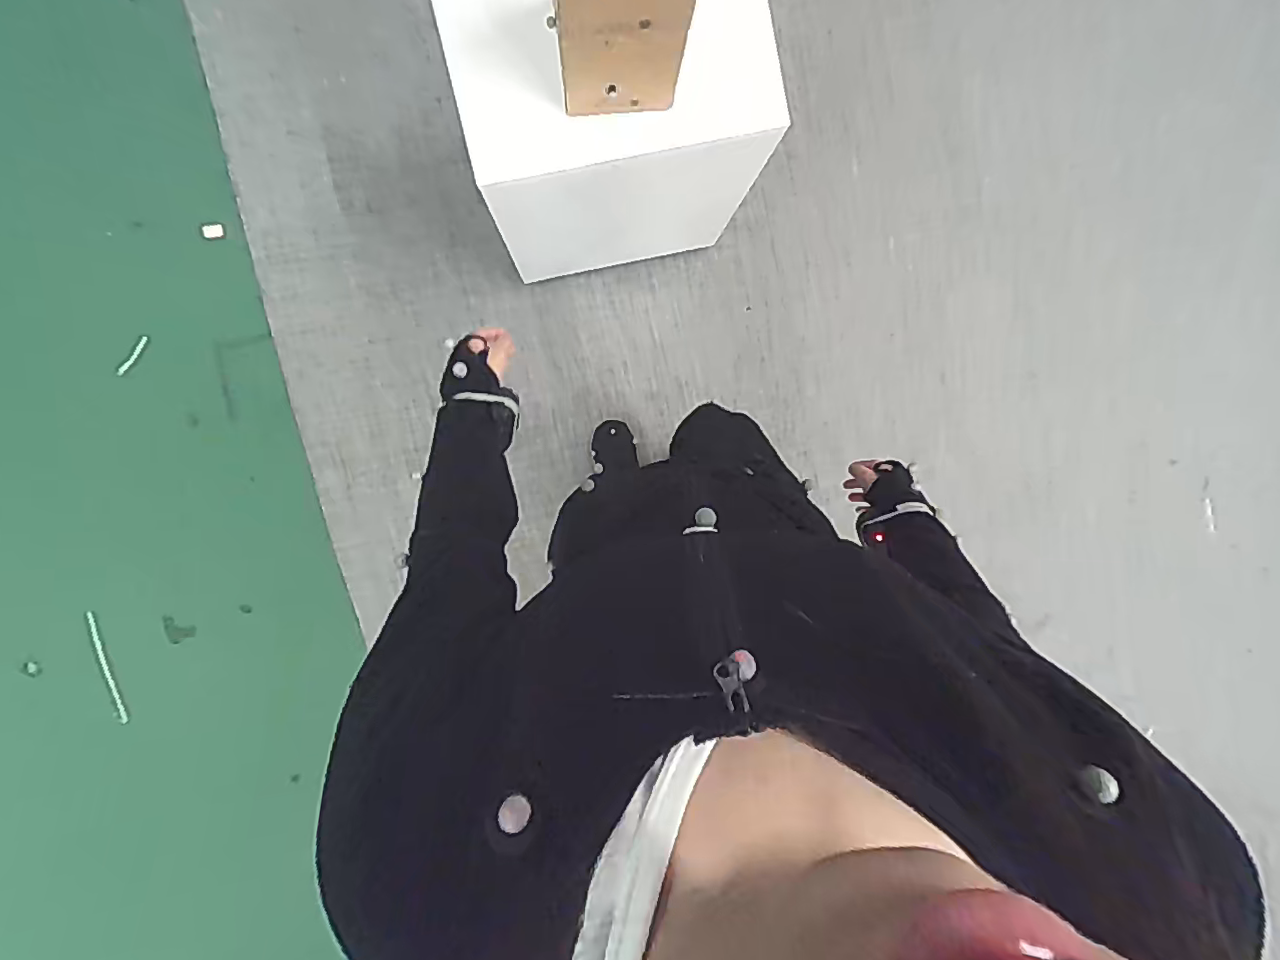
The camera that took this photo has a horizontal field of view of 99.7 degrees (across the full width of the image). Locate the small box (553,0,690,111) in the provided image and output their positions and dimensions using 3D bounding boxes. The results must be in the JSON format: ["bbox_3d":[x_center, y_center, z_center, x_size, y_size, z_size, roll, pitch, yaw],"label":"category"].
[{"bbox_3d":[-0.033,-0.650,0.743,0.168,0.176,0.179,-7,96,-4],"label":"small box"}]
